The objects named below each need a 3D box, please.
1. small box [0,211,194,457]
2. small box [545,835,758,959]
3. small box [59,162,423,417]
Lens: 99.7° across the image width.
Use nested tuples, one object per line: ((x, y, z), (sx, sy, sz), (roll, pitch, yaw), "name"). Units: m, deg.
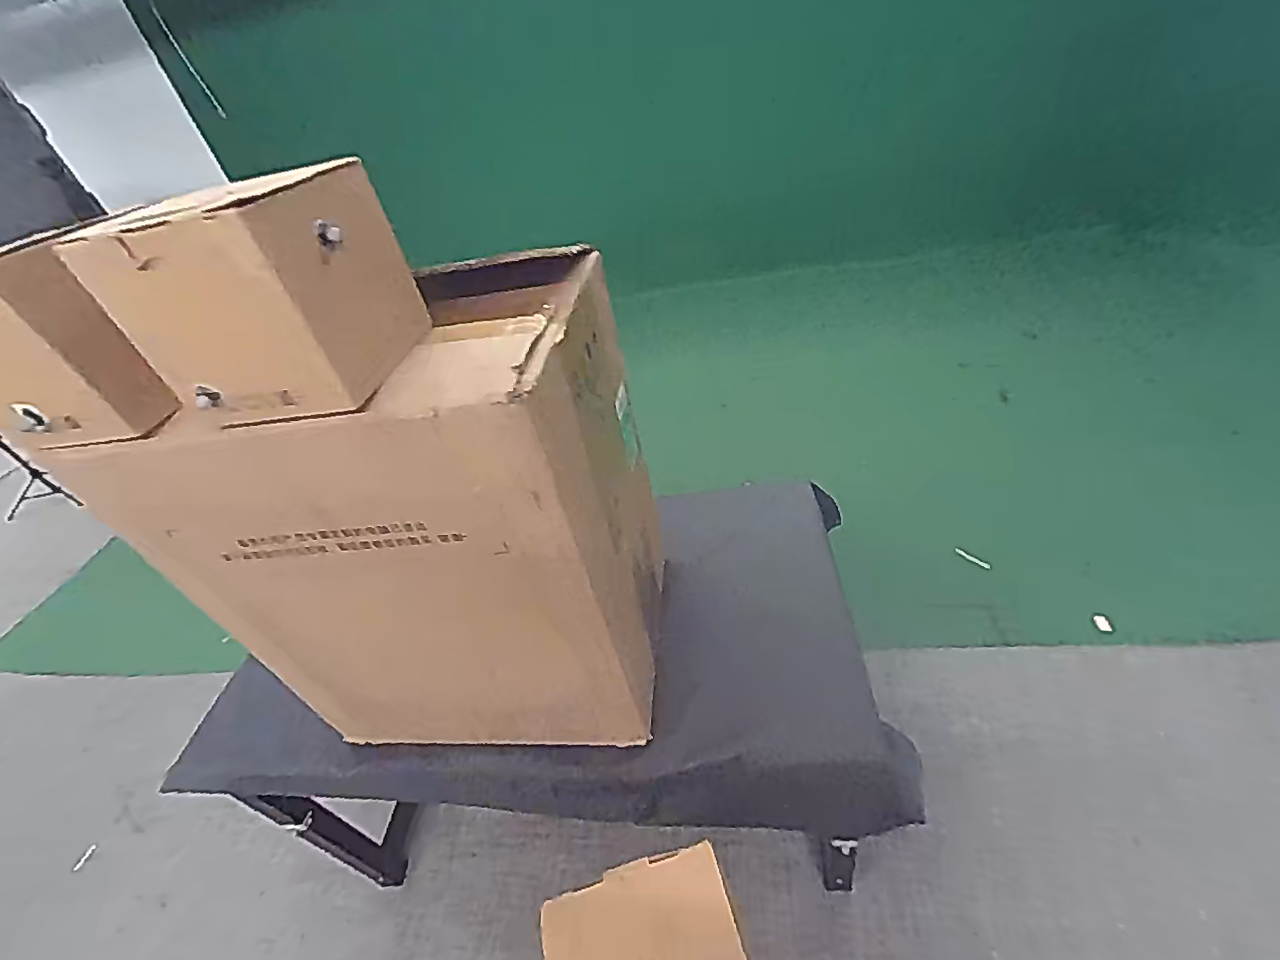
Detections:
((-0.557, -0.144, 0.544), (0.168, 0.176, 0.179), (-6, 40, 13), "small box")
((0.027, 0.462, 0.472), (0.168, 0.176, 0.179), (-20, 34, -3), "small box")
((-0.331, -0.169, 0.499), (0.168, 0.176, 0.179), (-5, 39, 10), "small box")
